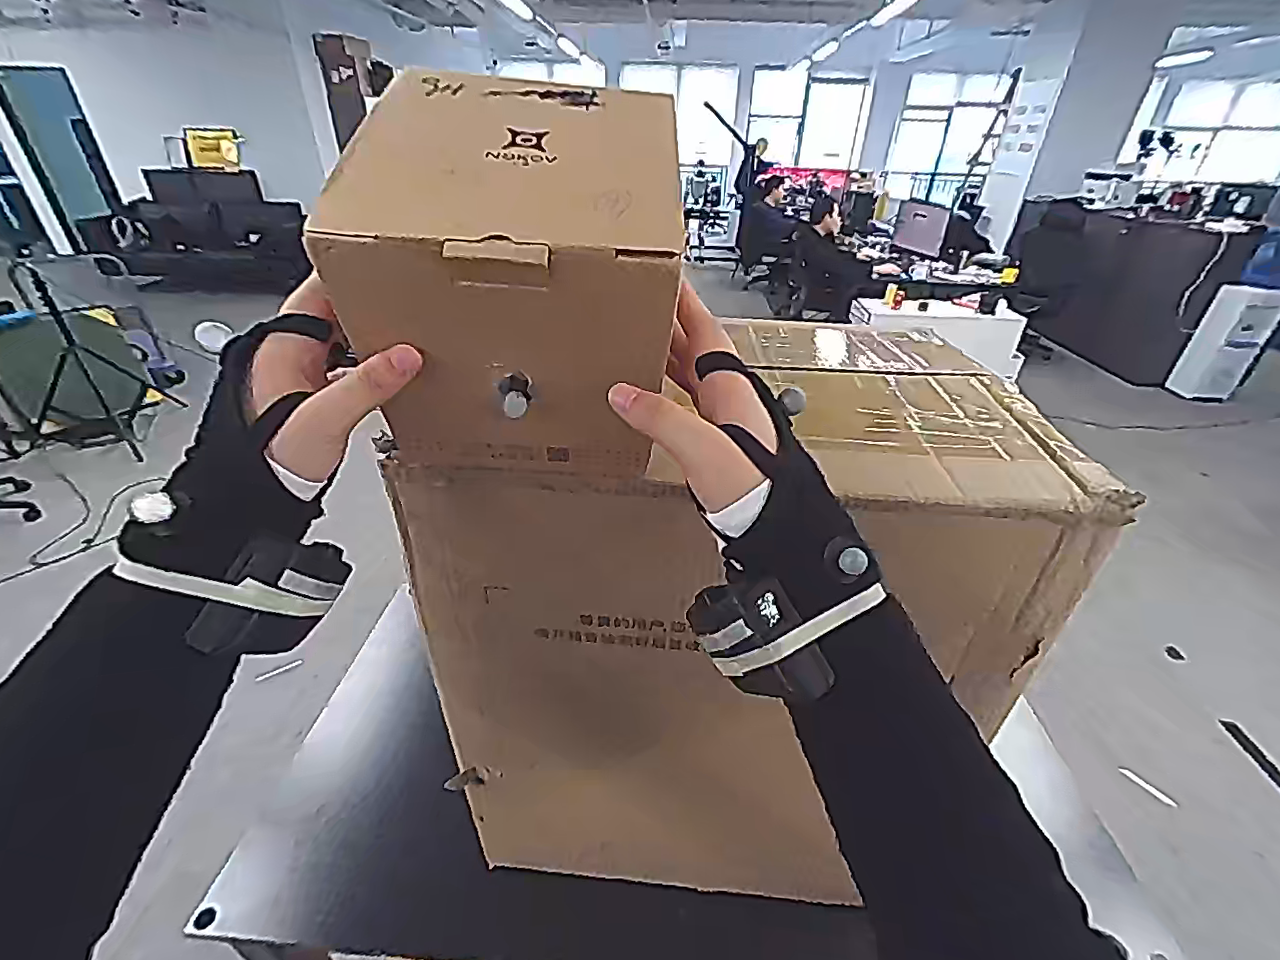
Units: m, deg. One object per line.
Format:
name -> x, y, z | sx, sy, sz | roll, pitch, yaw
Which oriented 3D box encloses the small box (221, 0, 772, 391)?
small box -> -0.045, -0.162, 0.269 | 0.168, 0.176, 0.179 | 3, 55, -4
